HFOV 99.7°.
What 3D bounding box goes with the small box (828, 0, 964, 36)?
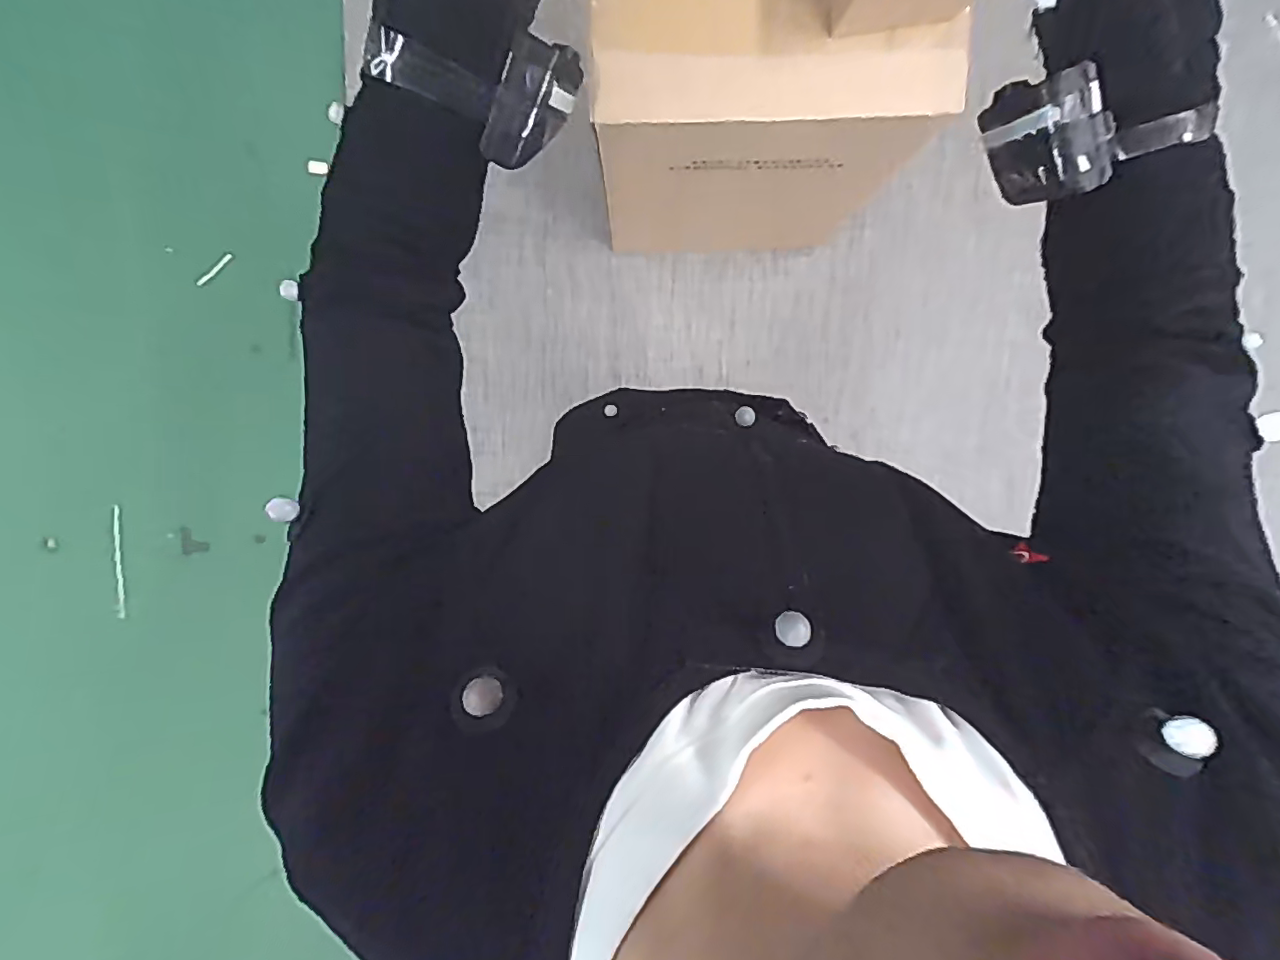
[{"bbox_3d":[0.337,-0.686,0.650,0.179,0.176,0.168,-9,99,3],"label":"small box"}]
